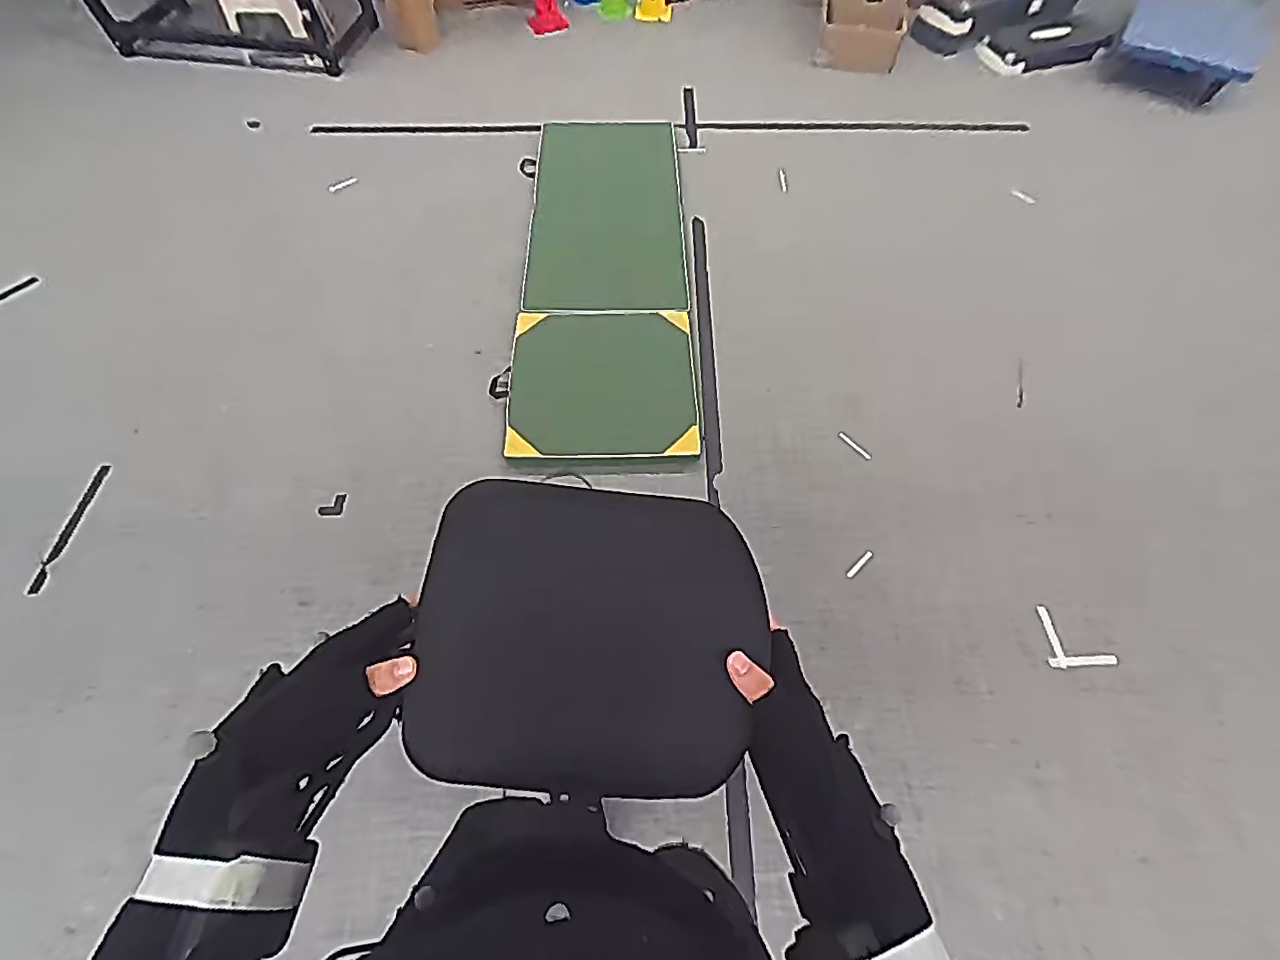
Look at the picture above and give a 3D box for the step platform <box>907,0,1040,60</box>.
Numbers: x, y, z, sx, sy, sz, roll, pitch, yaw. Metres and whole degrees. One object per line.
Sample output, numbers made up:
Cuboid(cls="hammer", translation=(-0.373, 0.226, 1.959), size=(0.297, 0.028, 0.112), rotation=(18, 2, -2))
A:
Cuboid(cls="step platform", translation=(1.816, -2.515, 2.927), size=(0.684, 0.204, 0.286), rotation=(-27, 65, -14))
